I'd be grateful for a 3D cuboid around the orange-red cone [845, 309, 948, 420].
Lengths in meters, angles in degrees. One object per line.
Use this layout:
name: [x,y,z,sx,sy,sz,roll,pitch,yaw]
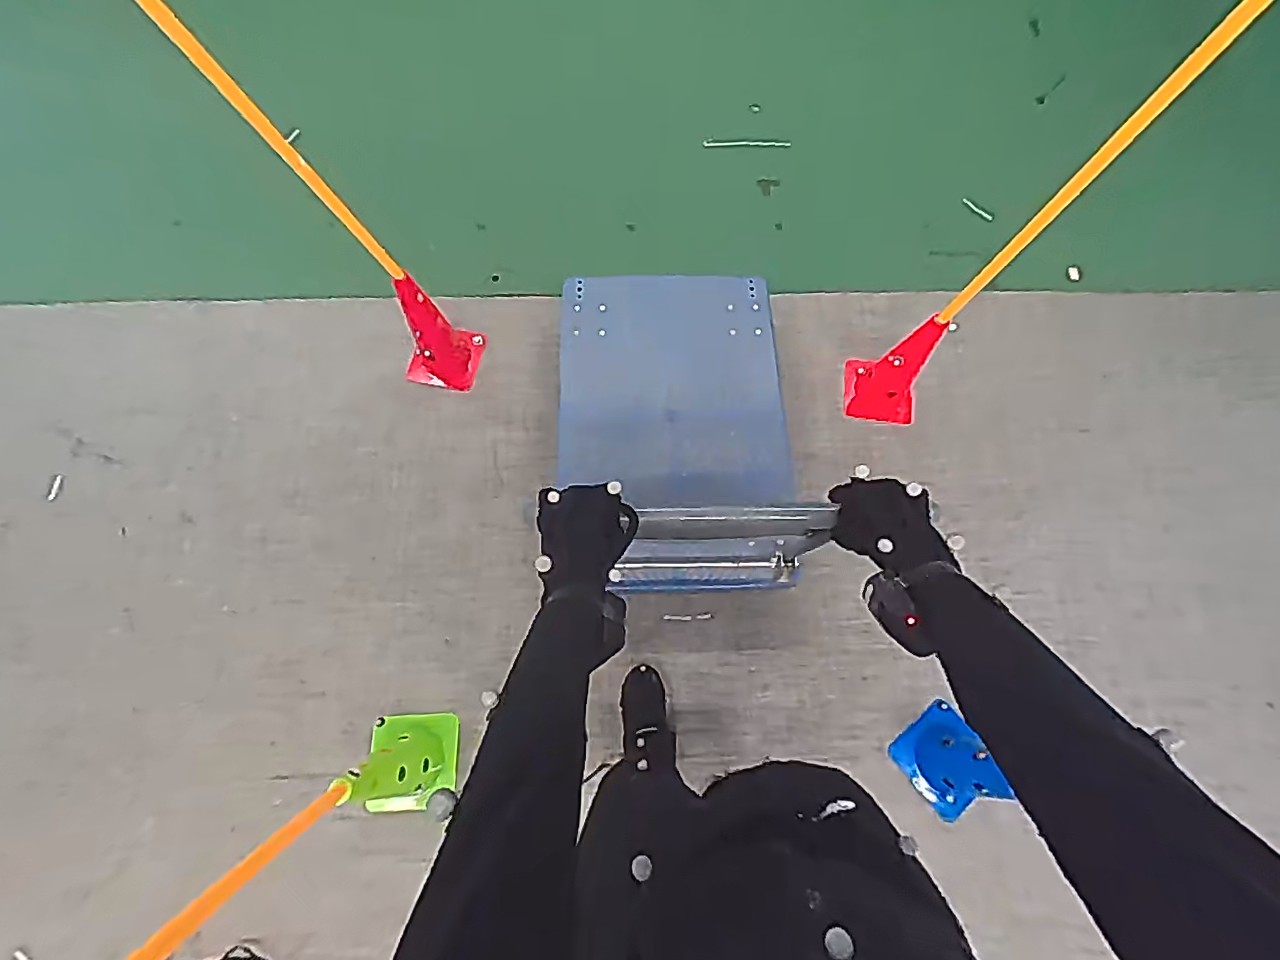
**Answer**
orange-red cone: [0.709,-0.329,1.435,0.198,0.360,0.199,9,72,3]
